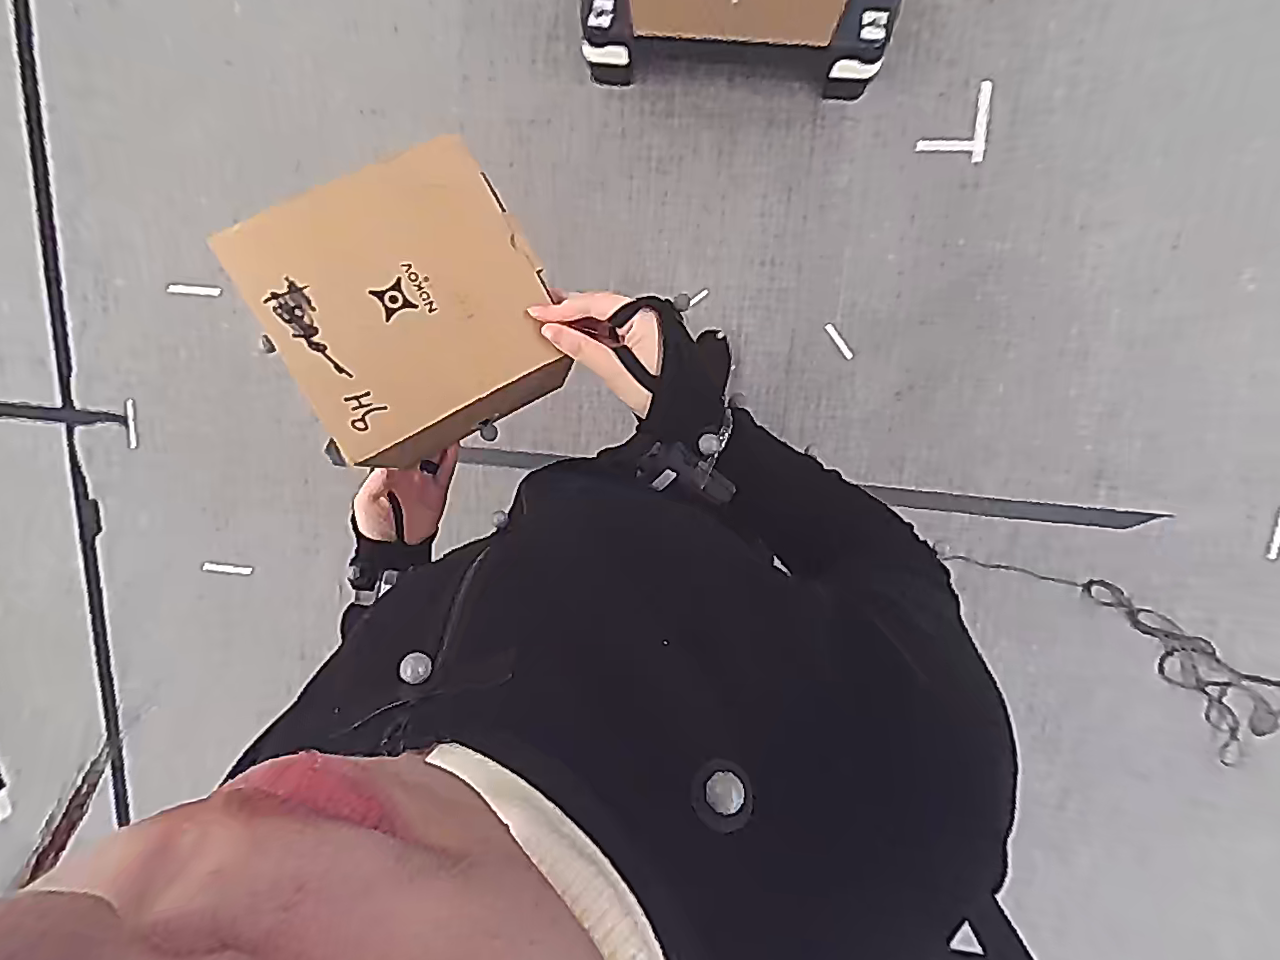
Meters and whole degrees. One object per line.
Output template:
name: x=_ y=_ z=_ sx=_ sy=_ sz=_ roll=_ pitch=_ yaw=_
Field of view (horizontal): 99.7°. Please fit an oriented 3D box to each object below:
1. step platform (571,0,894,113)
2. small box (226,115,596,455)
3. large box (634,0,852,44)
step platform: x=0.195 y=-1.049 z=1.183 sx=0.684 sy=0.204 sz=0.286 roll=11 pitch=100 yaw=4
small box: x=-0.158 y=-0.131 z=0.425 sx=0.179 sy=0.176 sz=0.168 roll=-29 pitch=95 yaw=-12
large box: x=0.194 y=-1.024 z=0.945 sx=0.408 sy=0.320 sz=0.320 roll=6 pitch=99 yaw=5
